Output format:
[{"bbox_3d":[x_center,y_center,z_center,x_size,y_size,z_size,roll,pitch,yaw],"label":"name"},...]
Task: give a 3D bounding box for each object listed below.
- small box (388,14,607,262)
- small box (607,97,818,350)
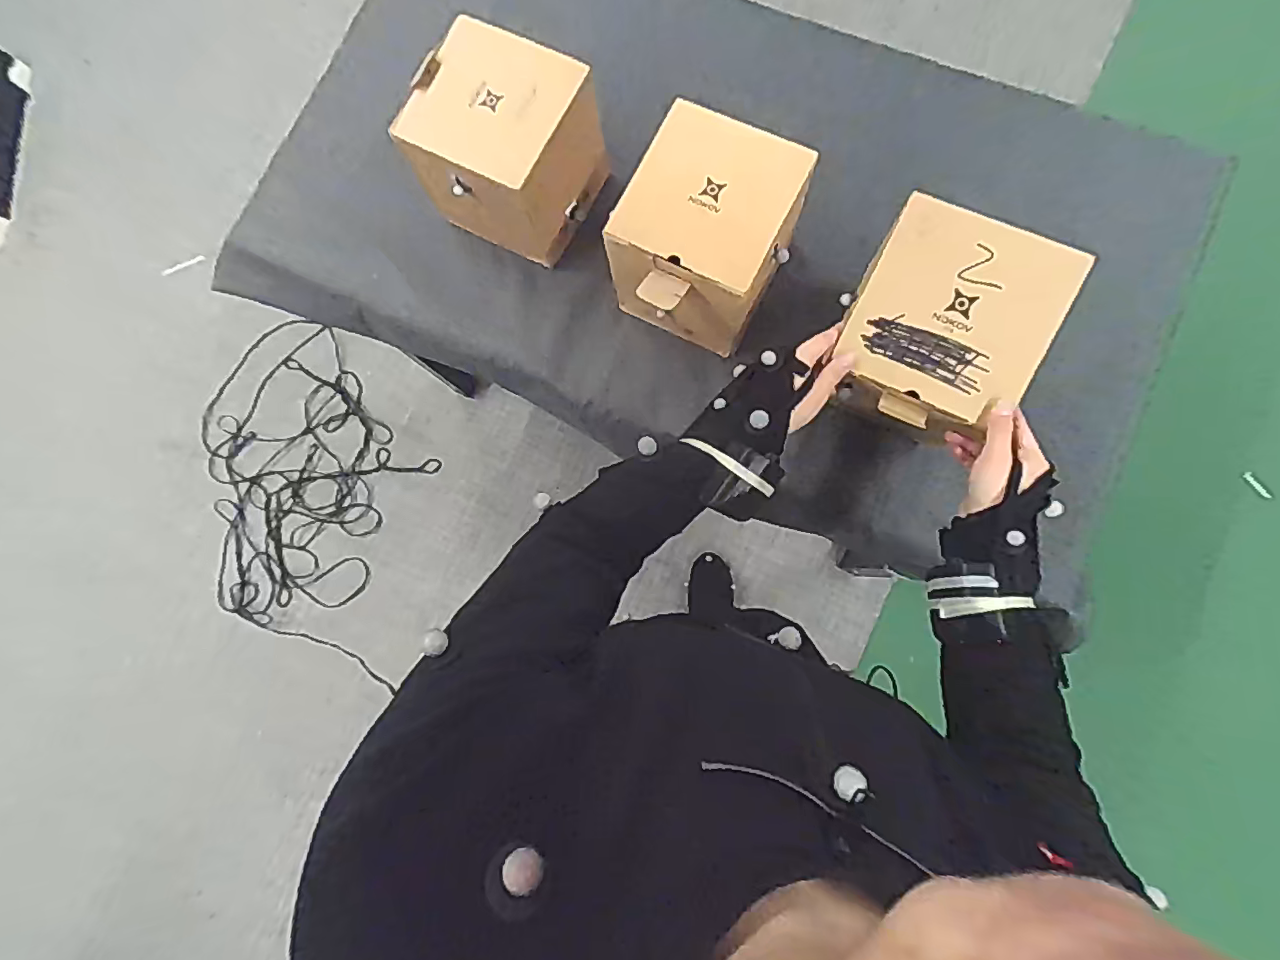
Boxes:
[{"bbox_3d":[-0.160,-0.406,0.670,0.179,0.176,0.168,28,85,7],"label":"small box"},{"bbox_3d":[0.078,-0.285,0.635,0.168,0.176,0.179,27,85,8],"label":"small box"}]
